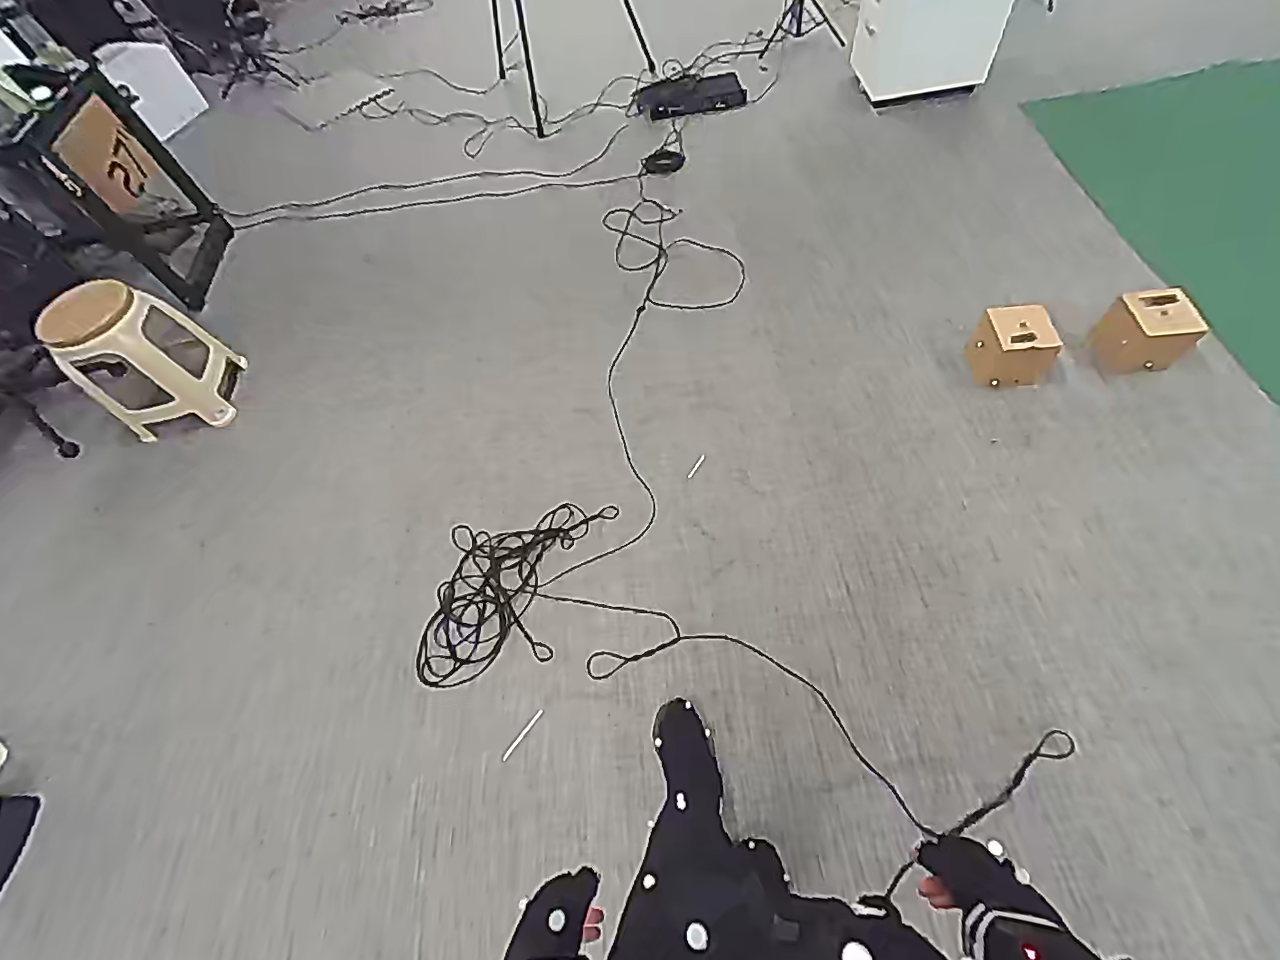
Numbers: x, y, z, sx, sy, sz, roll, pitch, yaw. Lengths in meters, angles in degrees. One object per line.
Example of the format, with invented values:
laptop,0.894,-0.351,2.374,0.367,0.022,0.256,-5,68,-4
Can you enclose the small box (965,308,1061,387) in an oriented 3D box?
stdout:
small box,1.137,-0.400,1.664,0.168,0.176,0.179,-2,58,6
